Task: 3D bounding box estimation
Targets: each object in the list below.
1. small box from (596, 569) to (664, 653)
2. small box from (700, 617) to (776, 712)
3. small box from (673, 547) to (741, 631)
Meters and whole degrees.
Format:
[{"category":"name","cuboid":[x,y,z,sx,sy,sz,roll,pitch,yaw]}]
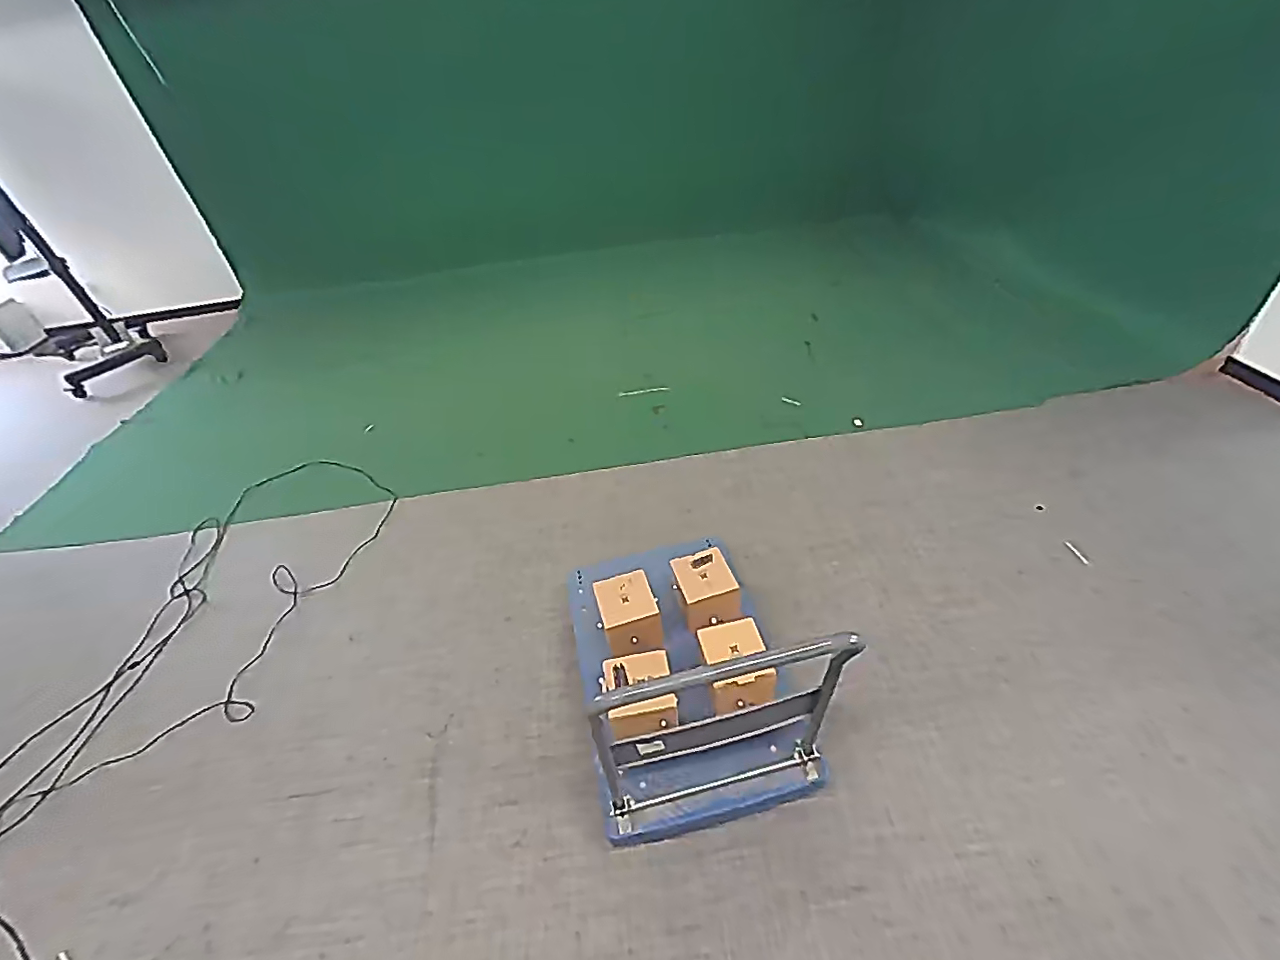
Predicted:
[{"category":"small box","cuboid":[-0.030,0.415,1.687,0.168,0.176,0.179,-14,42,-9]},{"category":"small box","cuboid":[0.269,0.520,1.523,0.168,0.176,0.179,-12,42,-5]},{"category":"small box","cuboid":[0.210,0.348,1.724,0.168,0.176,0.179,-16,43,-7]}]
